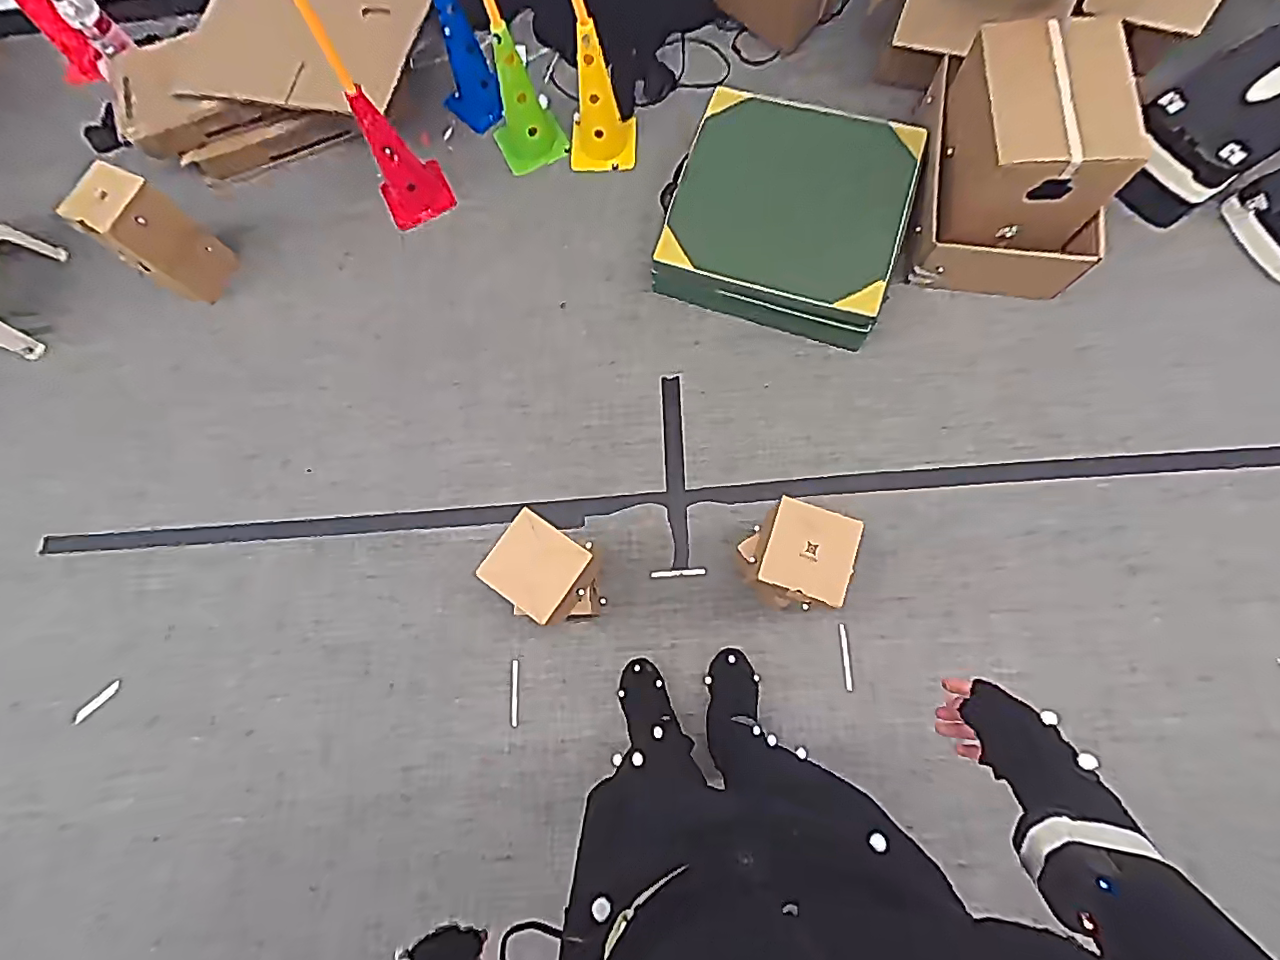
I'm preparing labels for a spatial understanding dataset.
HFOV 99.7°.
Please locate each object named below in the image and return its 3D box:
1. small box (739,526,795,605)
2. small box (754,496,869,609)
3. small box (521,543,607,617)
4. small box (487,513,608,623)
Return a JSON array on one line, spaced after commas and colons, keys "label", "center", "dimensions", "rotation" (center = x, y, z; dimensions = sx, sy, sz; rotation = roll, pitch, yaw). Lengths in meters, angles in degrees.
[{"label": "small box", "center": [0.348, 0.182, 1.273], "dimensions": [0.179, 0.176, 0.168], "rotation": [-36, 76, -5]}, {"label": "small box", "center": [0.341, 0.155, 1.109], "dimensions": [0.168, 0.176, 0.179], "rotation": [19, 78, 7]}, {"label": "small box", "center": [-0.174, 0.242, 1.300], "dimensions": [0.179, 0.176, 0.168], "rotation": [-2, 75, 5]}, {"label": "small box", "center": [-0.191, 0.190, 1.141], "dimensions": [0.179, 0.176, 0.168], "rotation": [29, 80, 10]}]
